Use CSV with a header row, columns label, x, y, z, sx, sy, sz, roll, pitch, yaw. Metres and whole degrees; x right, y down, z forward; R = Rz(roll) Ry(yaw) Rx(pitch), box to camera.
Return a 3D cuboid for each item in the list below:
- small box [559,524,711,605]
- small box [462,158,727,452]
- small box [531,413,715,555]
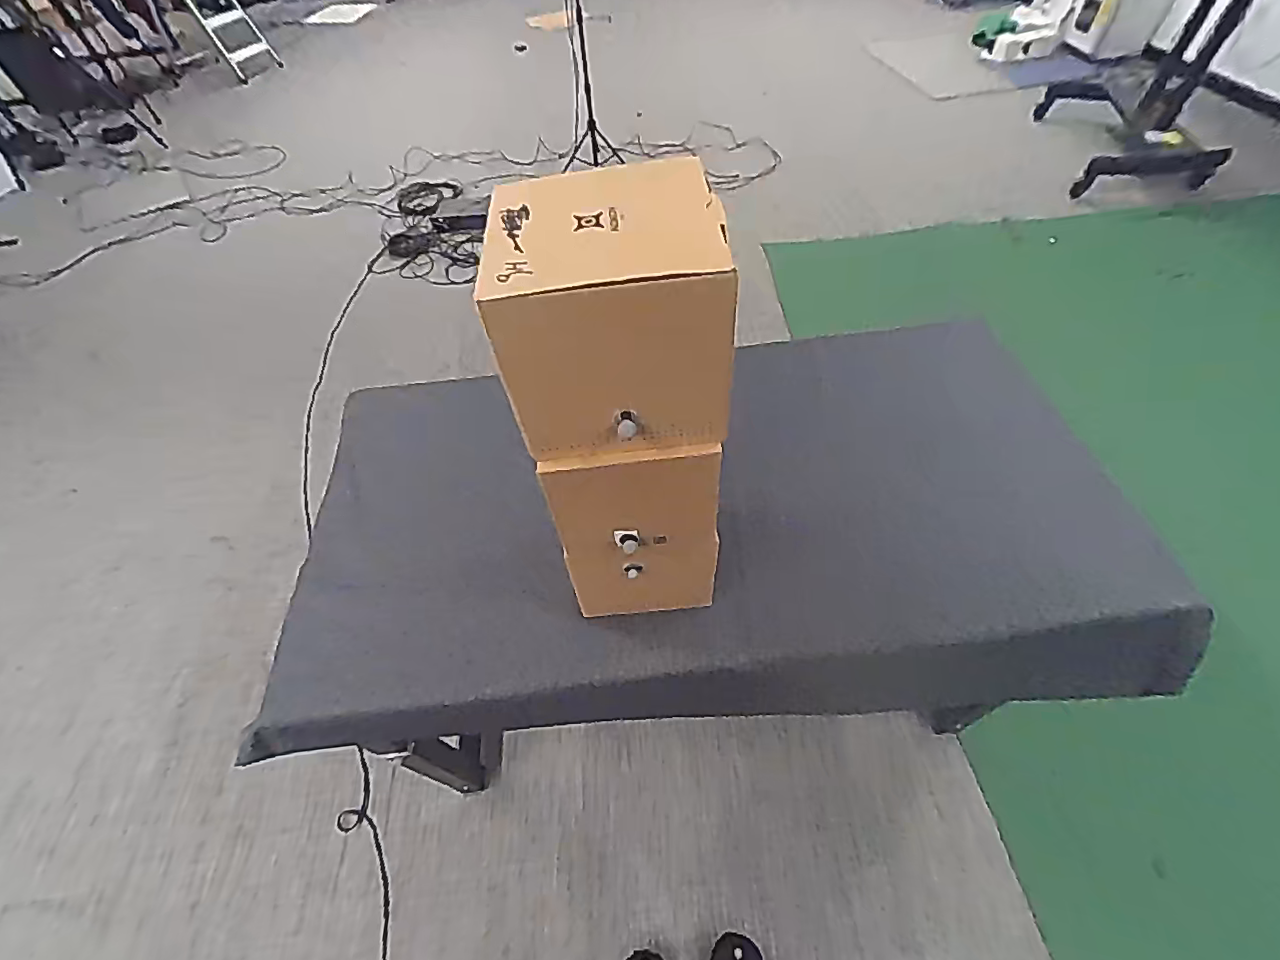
label,x,y,z,sx,sy,sz,roll,pitch,yaw
small box,-0.004,0.055,0.718,0.179,0.176,0.168,-5,53,0
small box,-0.029,-0.141,0.460,0.179,0.176,0.168,-6,53,1
small box,-0.015,-0.040,0.588,0.168,0.176,0.179,-7,54,1
